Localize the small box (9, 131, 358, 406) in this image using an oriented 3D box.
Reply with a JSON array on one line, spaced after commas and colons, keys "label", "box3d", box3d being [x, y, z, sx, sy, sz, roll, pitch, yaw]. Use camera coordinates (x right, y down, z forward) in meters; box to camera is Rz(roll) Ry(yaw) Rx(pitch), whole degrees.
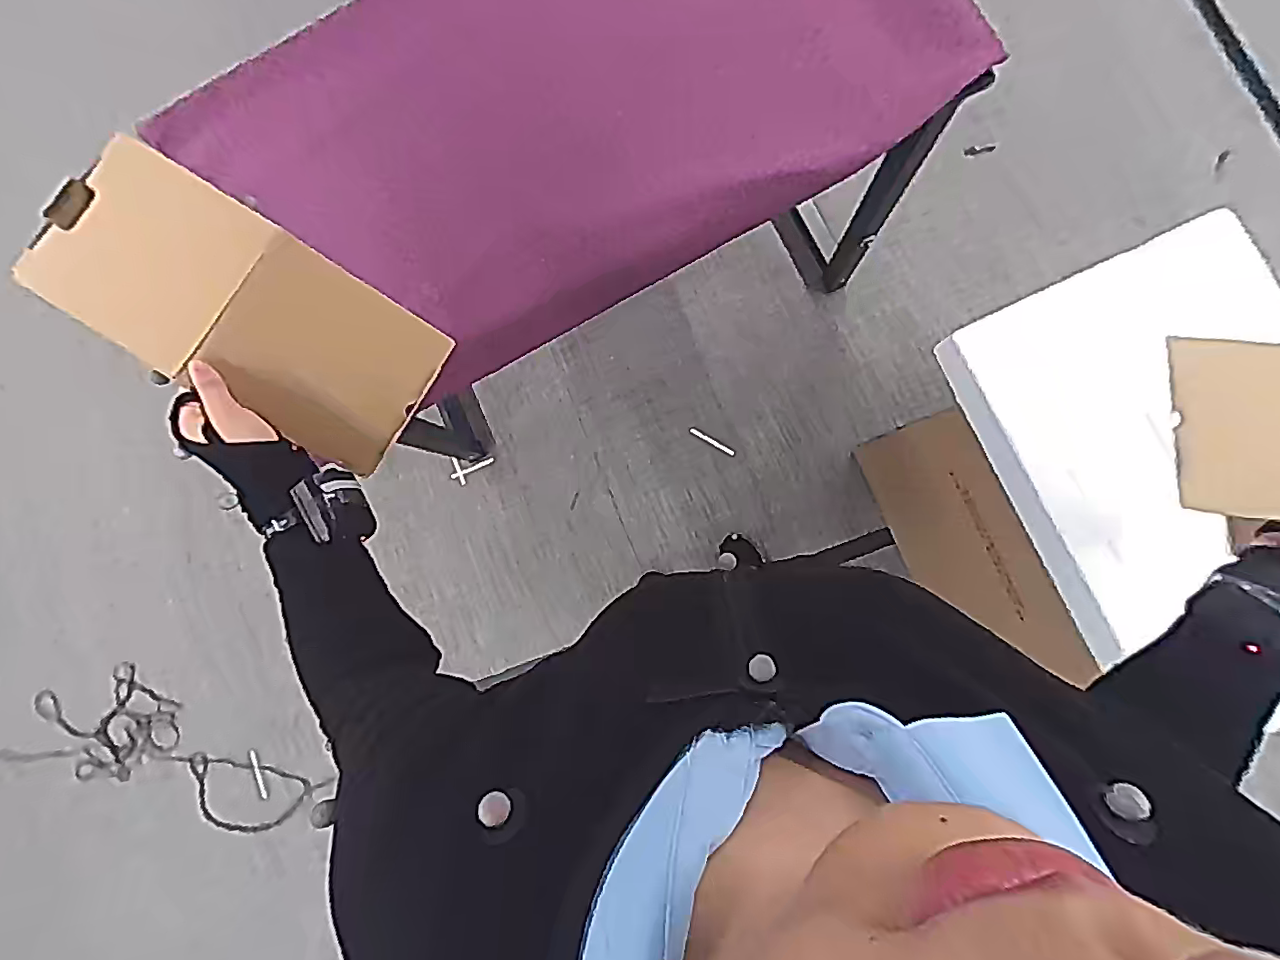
[{"label": "small box", "box3d": [-0.435, -0.193, 0.554, 0.179, 0.176, 0.168, 33, 84, 1]}]
